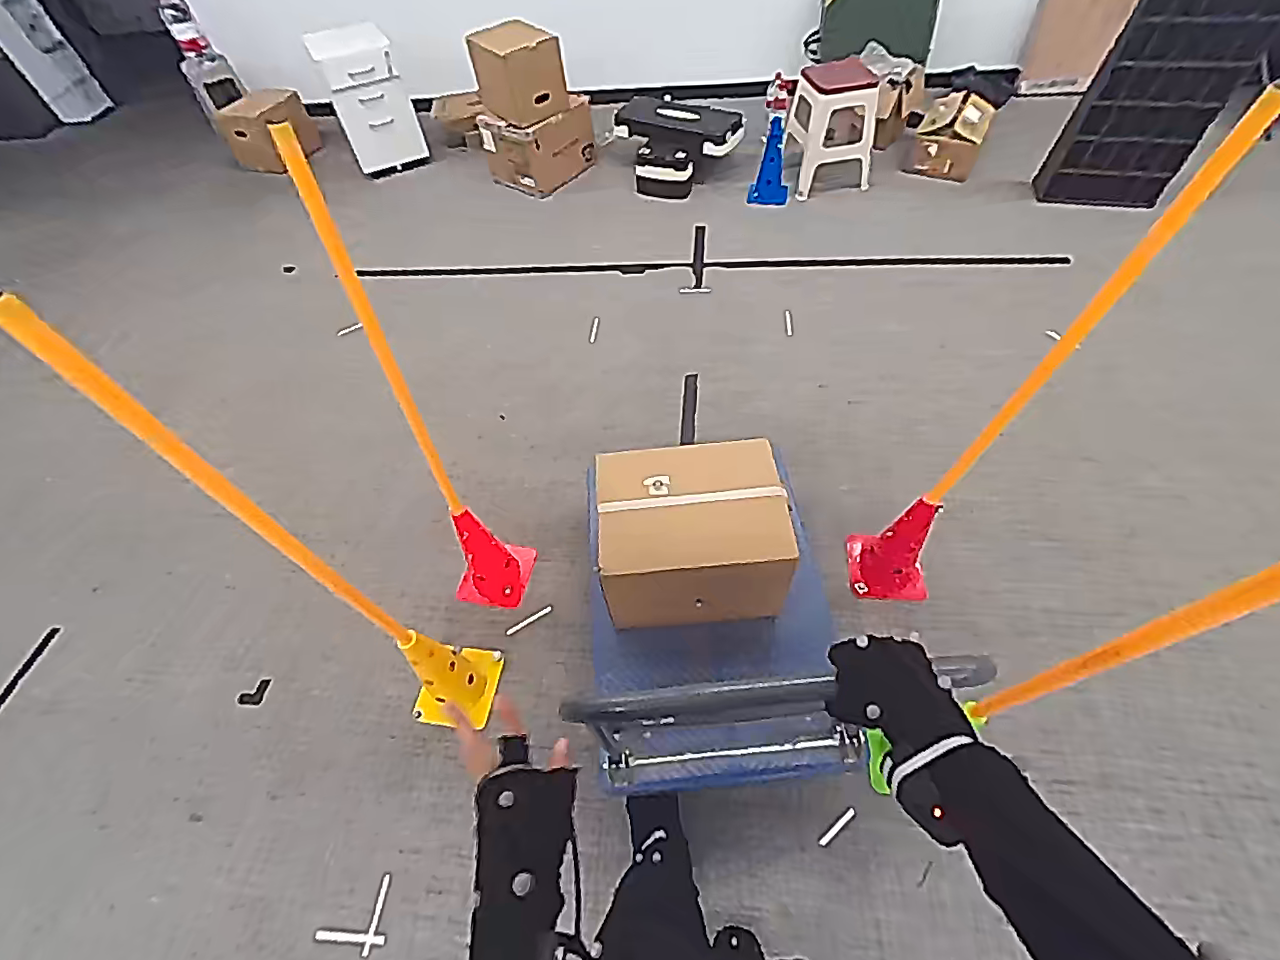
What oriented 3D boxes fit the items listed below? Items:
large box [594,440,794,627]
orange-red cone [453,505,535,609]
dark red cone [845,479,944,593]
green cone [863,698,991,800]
[{"bbox_3d":[0.115,0.138,1.292,0.408,0.320,0.320,-6,54,1],"label":"large box"},{"bbox_3d":[-0.441,0.179,1.486,0.198,0.360,0.199,8,54,9],"label":"orange-red cone"},{"bbox_3d":[0.690,0.130,1.405,0.201,0.394,0.202,3,55,4],"label":"dark red cone"},{"bbox_3d":[0.630,0.532,1.139,0.202,0.368,0.200,6,55,7],"label":"green cone"}]
